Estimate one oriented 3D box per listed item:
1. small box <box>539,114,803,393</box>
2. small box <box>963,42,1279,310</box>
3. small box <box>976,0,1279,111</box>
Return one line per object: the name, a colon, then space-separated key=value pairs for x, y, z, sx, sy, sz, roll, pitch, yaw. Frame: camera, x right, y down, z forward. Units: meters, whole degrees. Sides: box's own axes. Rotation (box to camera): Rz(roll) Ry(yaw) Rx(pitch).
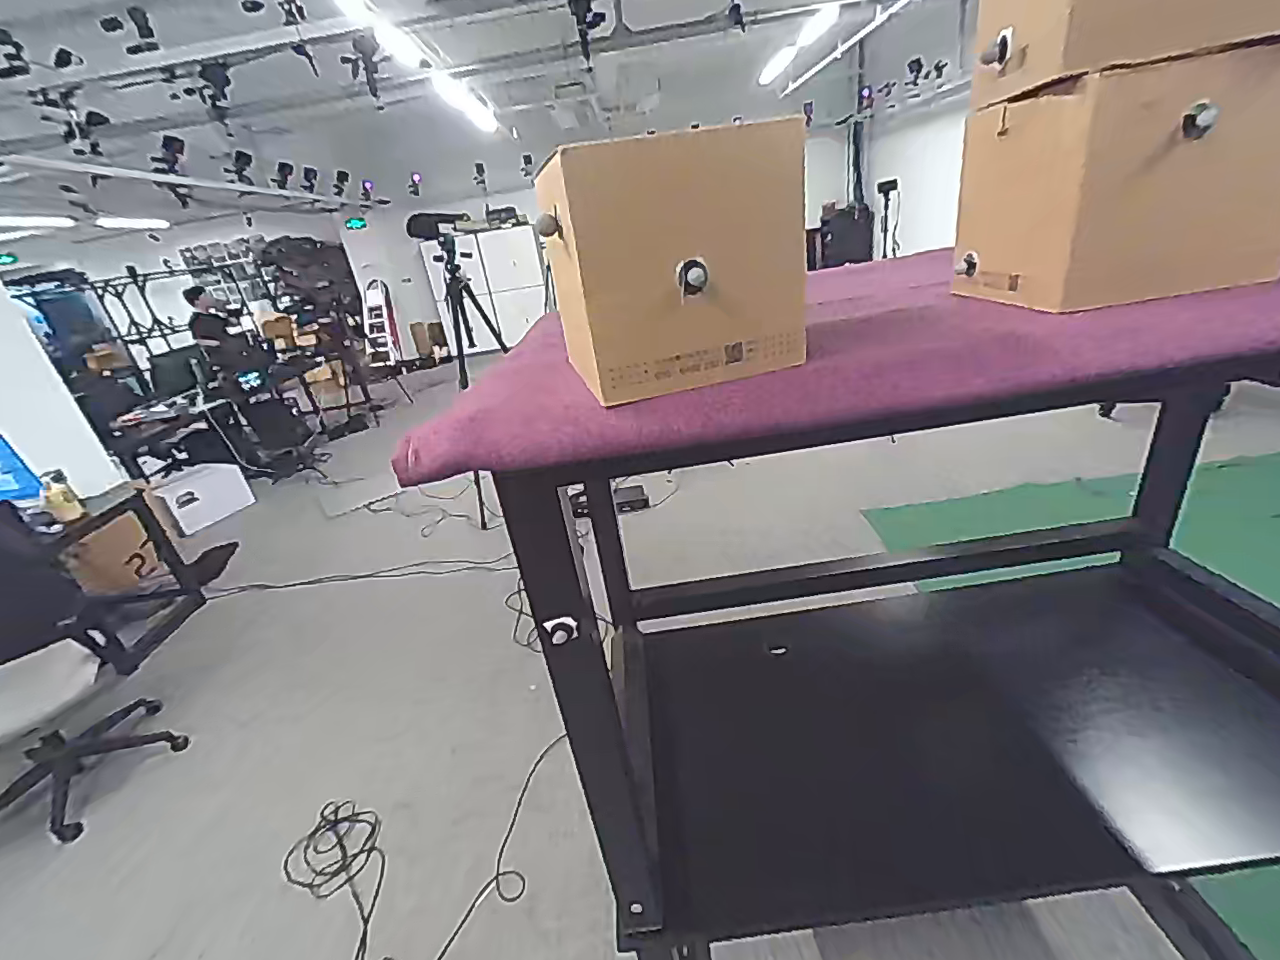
small box: x=0.020 y=-0.177 z=0.445 sx=0.168 sy=0.176 sz=0.179 roll=-13 pitch=26 yaw=-10
small box: x=0.410 y=-0.251 z=0.472 sx=0.179 sy=0.176 sz=0.168 roll=-7 pitch=25 yaw=2
small box: x=0.382 y=-0.396 z=0.403 sx=0.179 sy=0.176 sz=0.168 roll=-5 pitch=25 yaw=12
